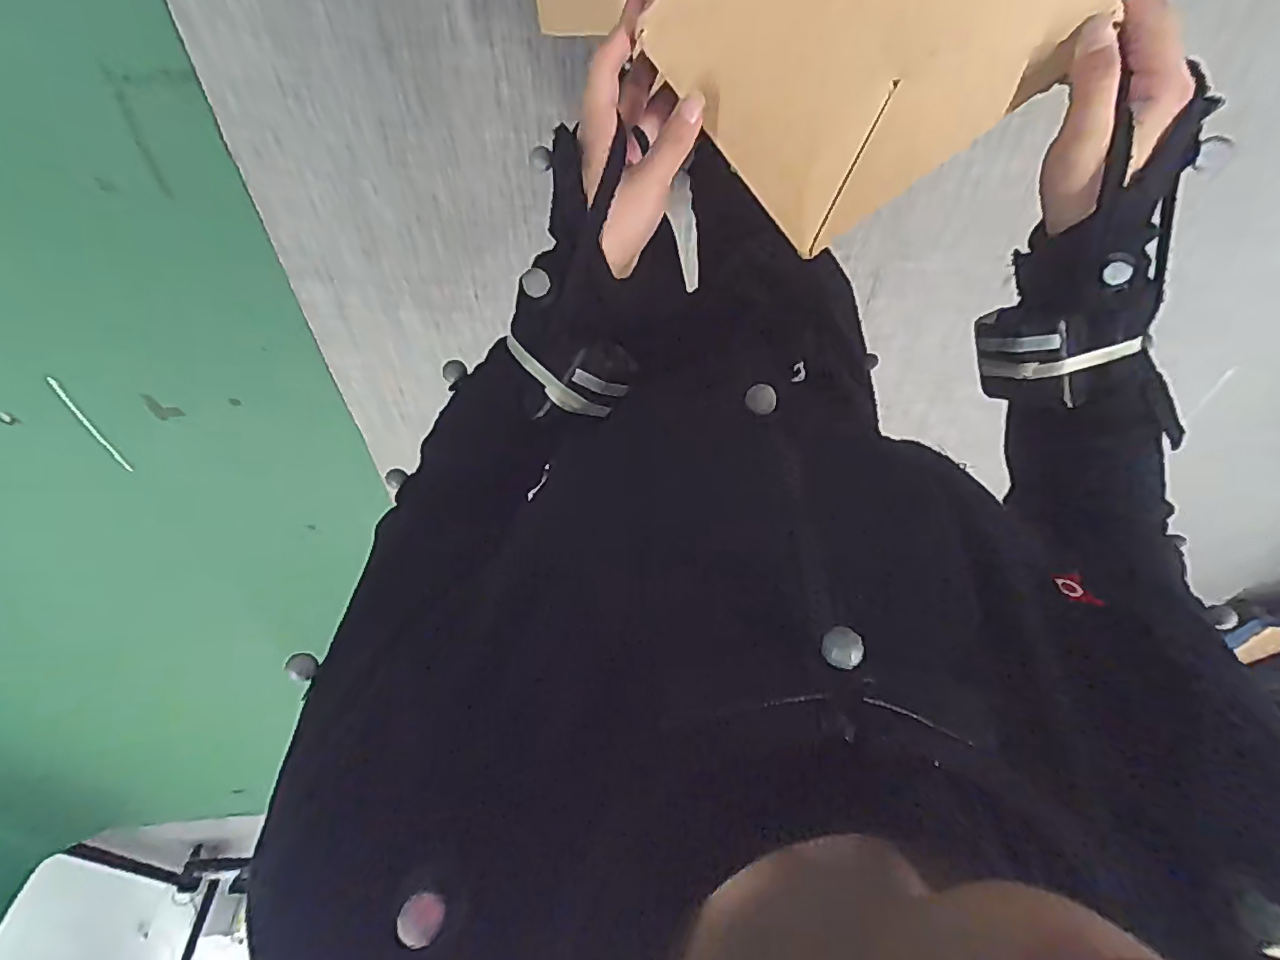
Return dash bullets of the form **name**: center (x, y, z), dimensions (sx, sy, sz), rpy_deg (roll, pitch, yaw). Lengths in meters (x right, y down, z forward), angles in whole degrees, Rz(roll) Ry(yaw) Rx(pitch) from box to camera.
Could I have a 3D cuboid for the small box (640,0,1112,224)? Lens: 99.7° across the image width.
- **small box**: center (0.118, -0.285, 0.316), dimensions (0.168, 0.176, 0.179), rpy_deg (36, 133, -29)
